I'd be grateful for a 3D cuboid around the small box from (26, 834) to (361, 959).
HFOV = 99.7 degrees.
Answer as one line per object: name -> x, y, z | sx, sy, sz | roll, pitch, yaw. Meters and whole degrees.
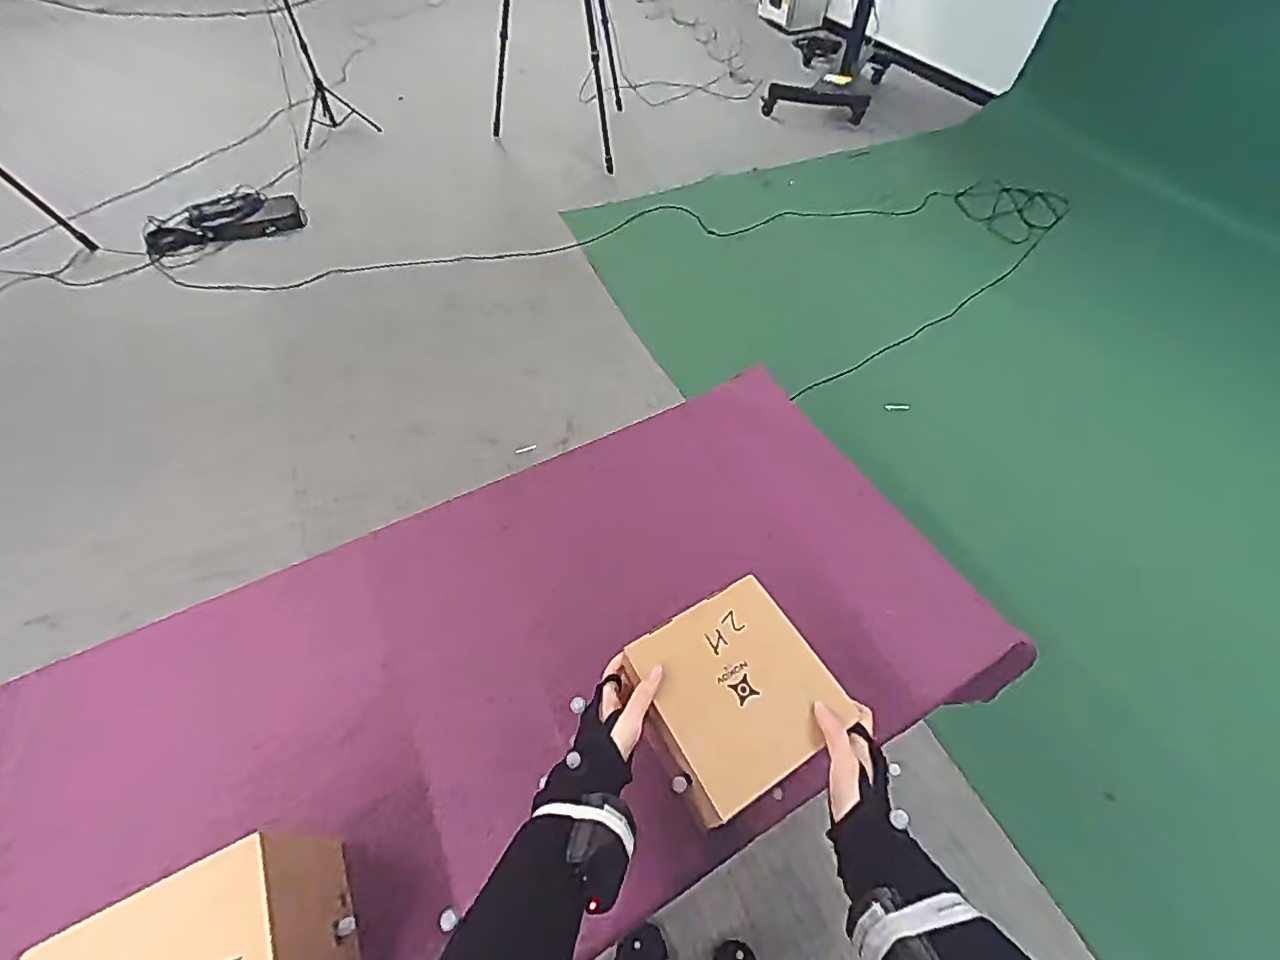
small box -> -0.372, 0.448, 0.474 | 0.179, 0.176, 0.168 | -23, 58, -17
